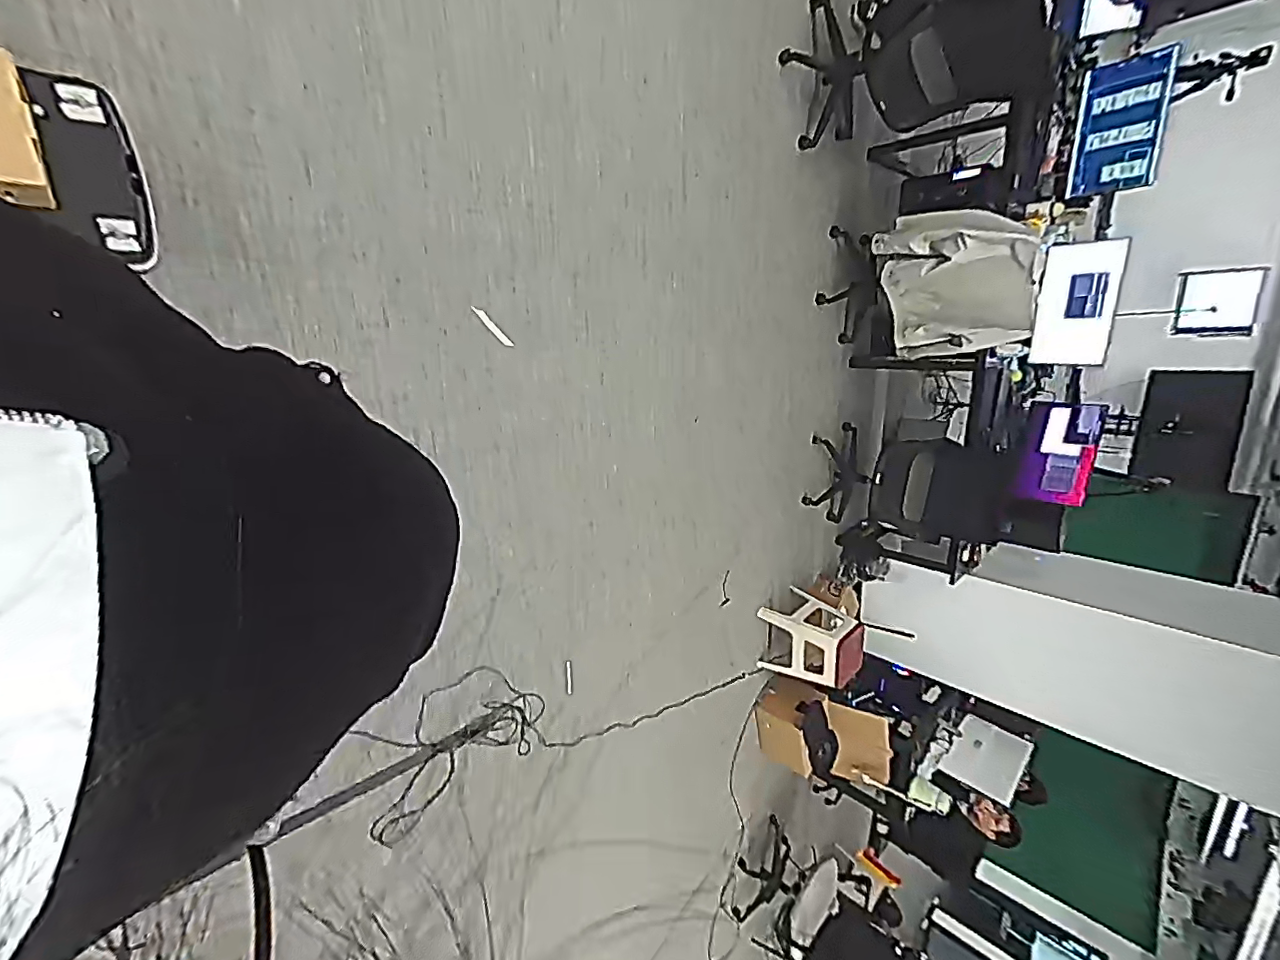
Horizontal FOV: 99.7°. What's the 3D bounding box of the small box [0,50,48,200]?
[{"bbox_3d":[-0.945,-0.484,0.731,0.179,0.176,0.168,-15,110,-41],"label":"small box"}]
